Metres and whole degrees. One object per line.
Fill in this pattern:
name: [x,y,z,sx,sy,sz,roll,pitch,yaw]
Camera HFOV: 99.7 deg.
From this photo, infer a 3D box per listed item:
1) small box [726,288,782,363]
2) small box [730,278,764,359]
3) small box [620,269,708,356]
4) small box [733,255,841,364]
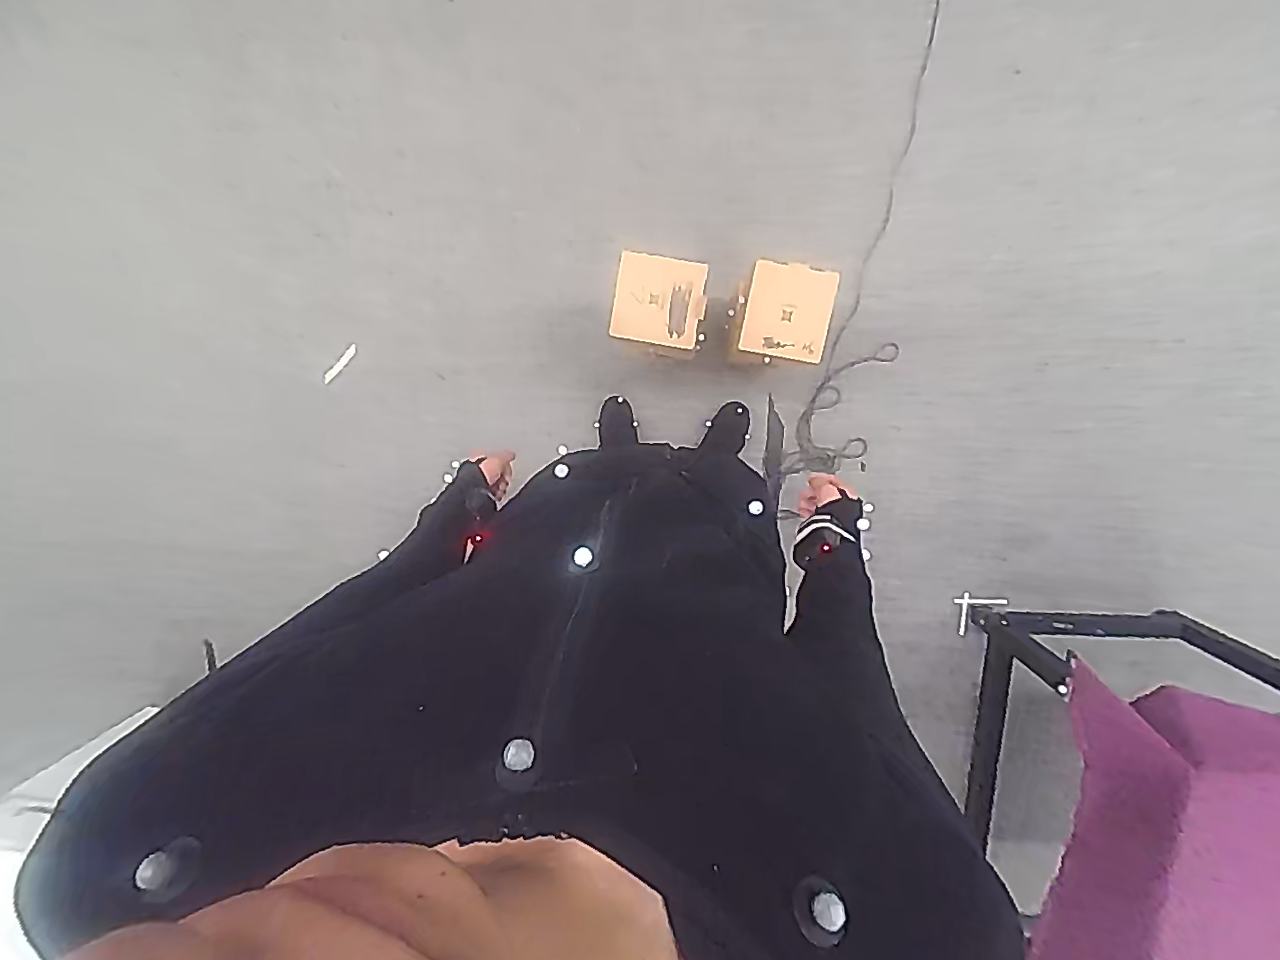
small box: [0.323,-0.408,1.450,0.168,0.176,0.179,3,101,5]
small box: [0.312,-0.378,1.292,0.179,0.176,0.168,4,101,4]
small box: [0.060,-0.396,1.303,0.179,0.176,0.168,11,101,3]
small box: [0.297,-0.346,1.131,0.168,0.176,0.179,11,100,3]
